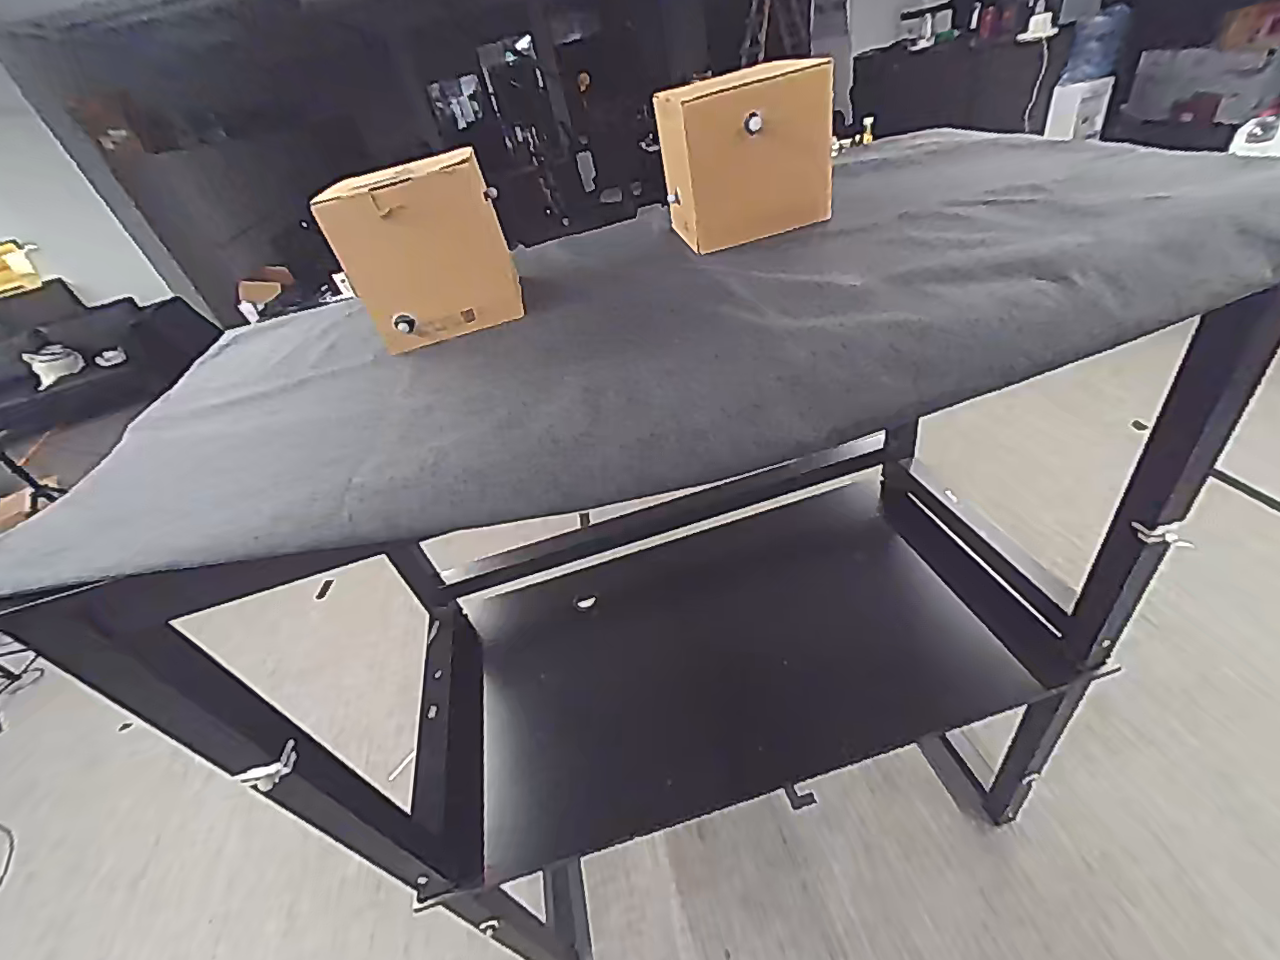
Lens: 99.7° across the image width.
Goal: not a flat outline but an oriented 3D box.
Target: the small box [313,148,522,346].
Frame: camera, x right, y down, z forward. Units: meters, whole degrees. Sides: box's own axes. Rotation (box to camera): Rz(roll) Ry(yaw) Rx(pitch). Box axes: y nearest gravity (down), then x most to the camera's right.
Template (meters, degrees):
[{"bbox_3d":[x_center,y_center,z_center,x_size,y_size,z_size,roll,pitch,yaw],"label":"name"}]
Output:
[{"bbox_3d":[-0.249,-0.279,0.655,0.168,0.176,0.179,-17,37,-3],"label":"small box"}]

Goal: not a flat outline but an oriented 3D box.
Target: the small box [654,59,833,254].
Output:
[{"bbox_3d":[0.130,-0.415,0.694,0.179,0.176,0.168,-16,38,0],"label":"small box"}]
